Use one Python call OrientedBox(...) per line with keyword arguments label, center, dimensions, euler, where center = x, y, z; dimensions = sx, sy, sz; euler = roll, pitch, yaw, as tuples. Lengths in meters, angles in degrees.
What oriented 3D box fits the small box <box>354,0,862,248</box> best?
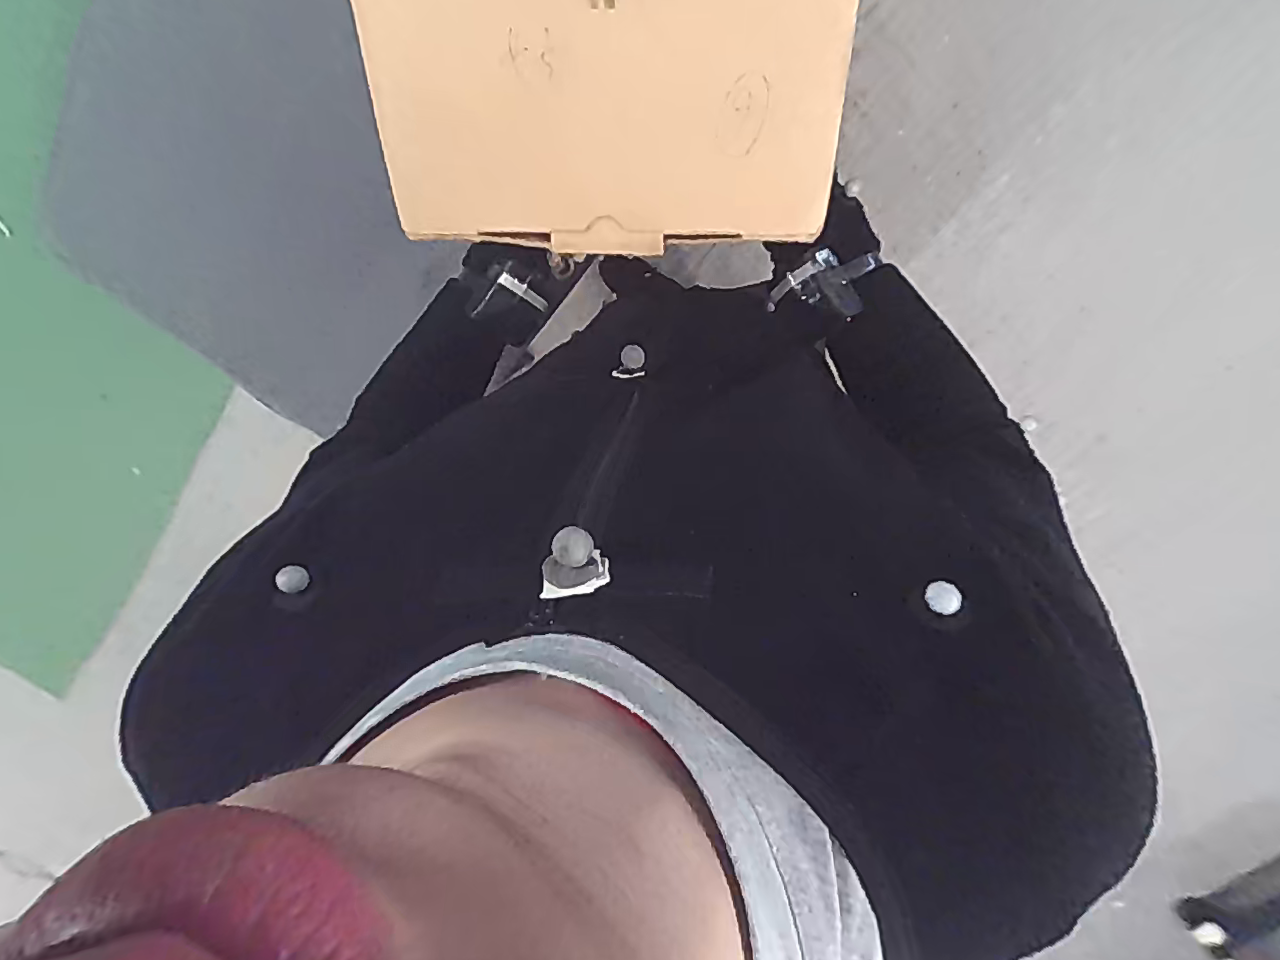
OrientedBox(label="small box", center=(-0.004, -0.209, 0.230), dimensions=(0.168, 0.176, 0.179), euler=(3, 122, 4))
